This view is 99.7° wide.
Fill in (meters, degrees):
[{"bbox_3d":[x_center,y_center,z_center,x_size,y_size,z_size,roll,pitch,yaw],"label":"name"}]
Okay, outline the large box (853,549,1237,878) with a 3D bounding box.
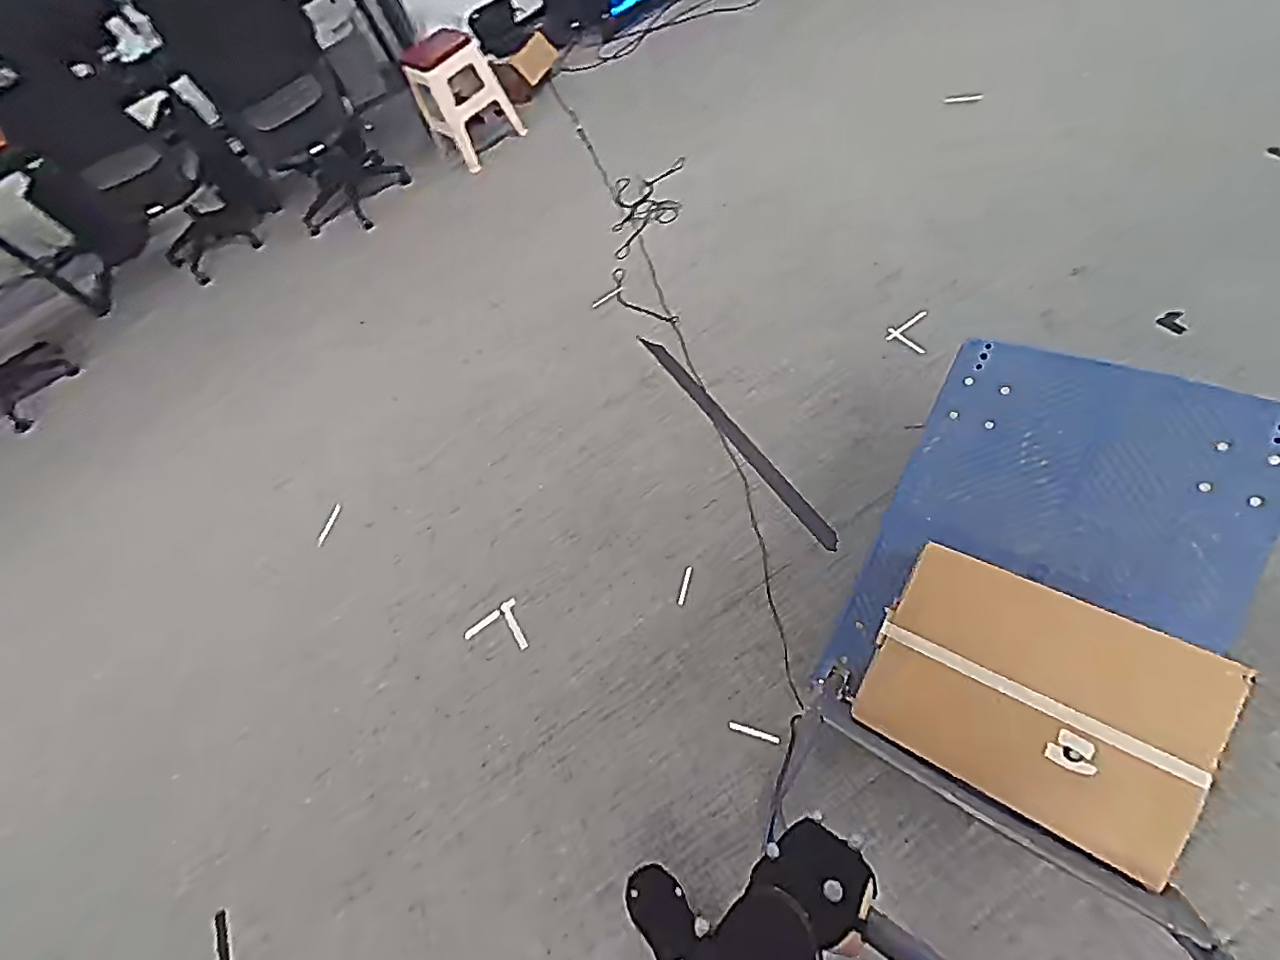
[{"bbox_3d":[0.627,0.349,0.934,0.408,0.320,0.320,25,90,27],"label":"large box"}]
